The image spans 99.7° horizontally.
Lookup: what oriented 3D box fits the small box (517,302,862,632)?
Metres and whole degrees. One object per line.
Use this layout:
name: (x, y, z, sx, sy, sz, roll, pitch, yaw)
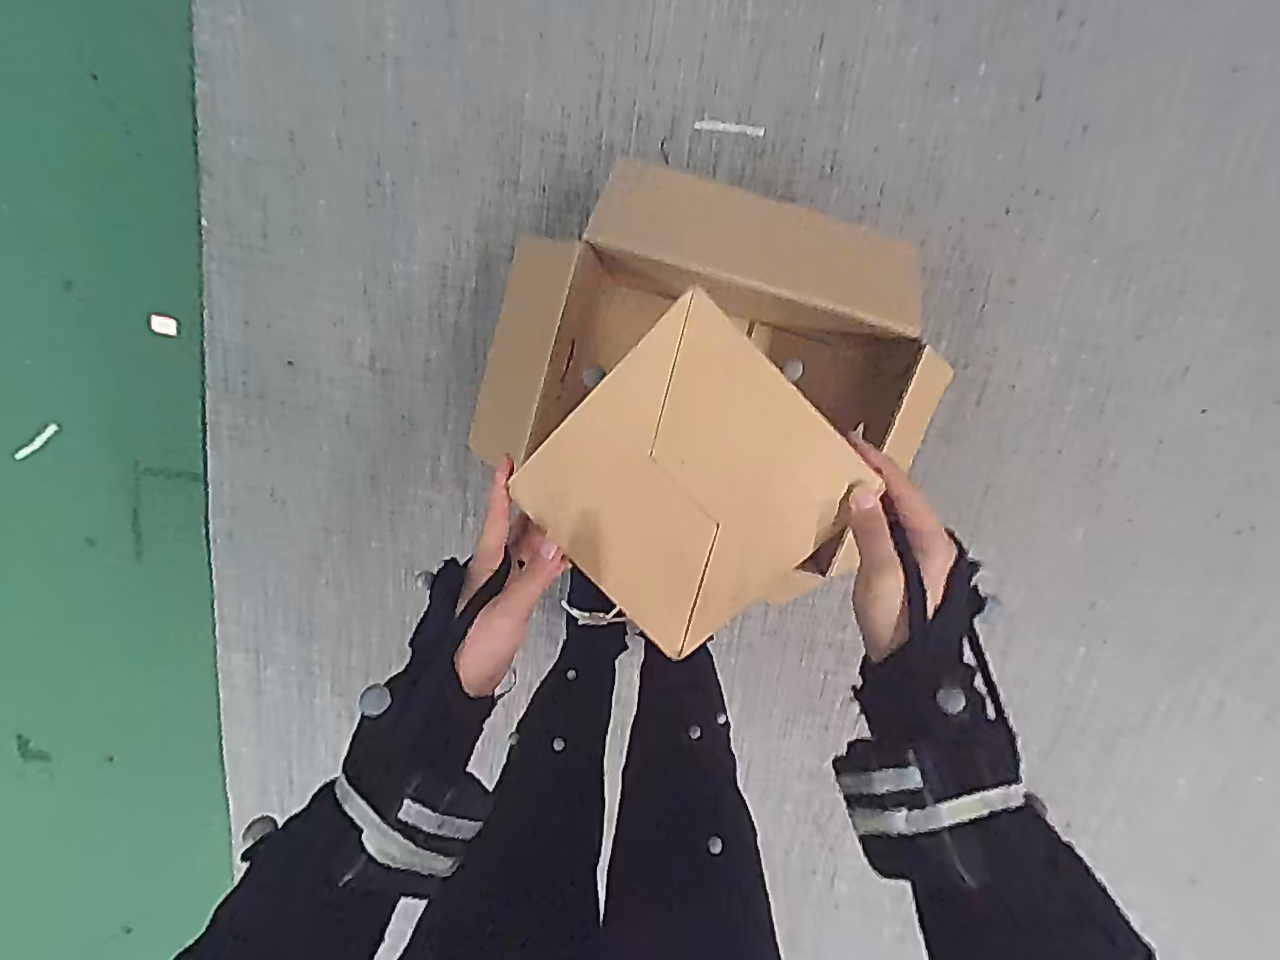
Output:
small box: (0.039, -0.018, 0.420, 0.168, 0.176, 0.179, 45, 106, -4)
